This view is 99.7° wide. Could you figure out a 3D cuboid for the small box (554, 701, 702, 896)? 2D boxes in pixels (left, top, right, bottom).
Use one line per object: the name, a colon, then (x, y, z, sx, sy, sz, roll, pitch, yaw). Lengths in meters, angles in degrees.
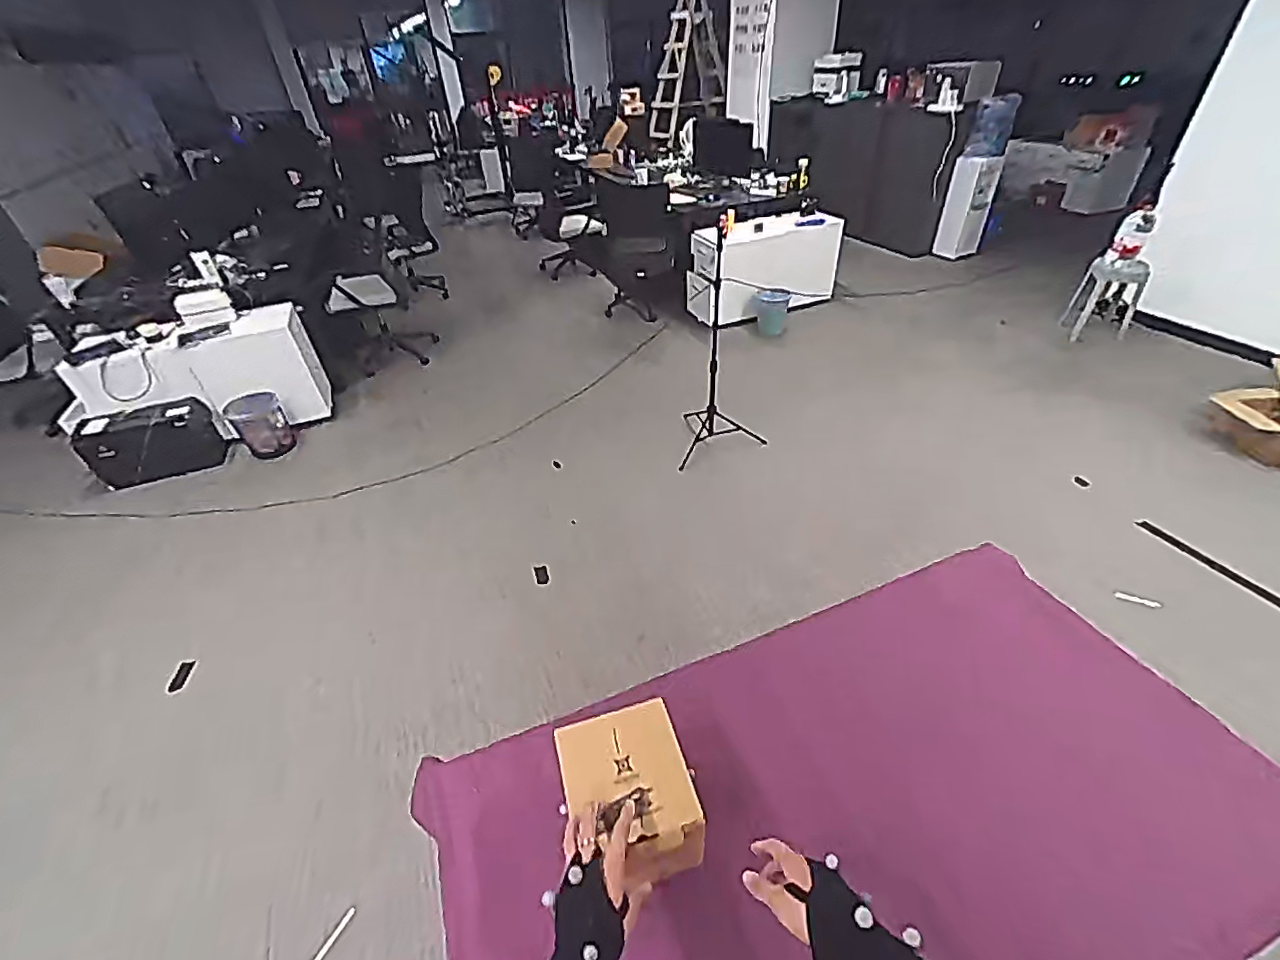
small box: (-0.016, 0.455, 0.769, 0.168, 0.176, 0.179, -13, 39, -11)
